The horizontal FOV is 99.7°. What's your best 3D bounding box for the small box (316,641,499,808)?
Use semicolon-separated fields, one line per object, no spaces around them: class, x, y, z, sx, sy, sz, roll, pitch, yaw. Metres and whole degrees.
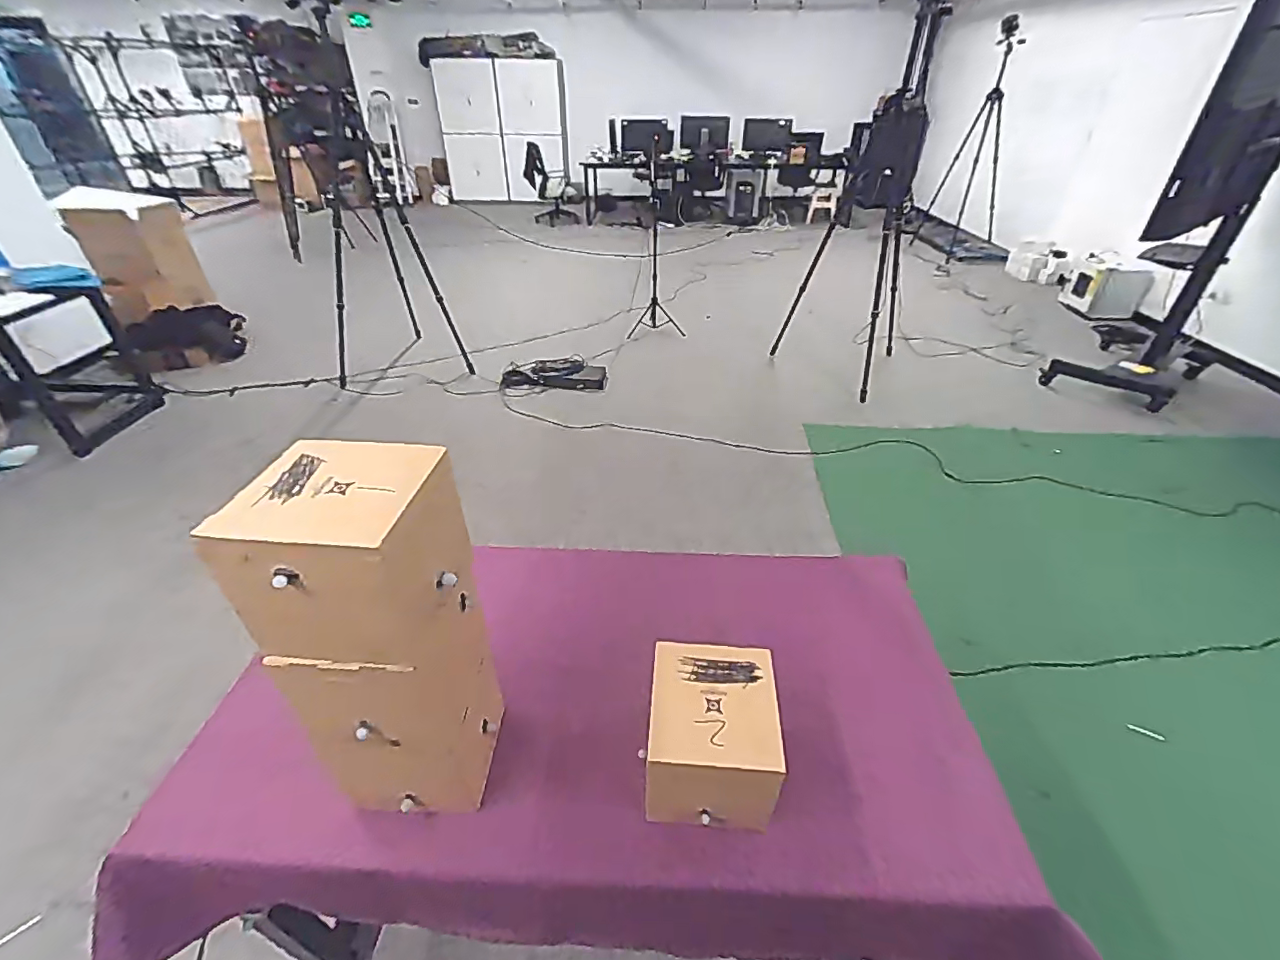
small box;-0.310;0.344;0.771;0.179;0.176;0.168;2;36;0

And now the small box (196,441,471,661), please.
small box;-0.302;0.074;0.581;0.179;0.176;0.168;4;36;3

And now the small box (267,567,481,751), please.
small box;-0.309;0.208;0.677;0.168;0.176;0.179;2;36;3
